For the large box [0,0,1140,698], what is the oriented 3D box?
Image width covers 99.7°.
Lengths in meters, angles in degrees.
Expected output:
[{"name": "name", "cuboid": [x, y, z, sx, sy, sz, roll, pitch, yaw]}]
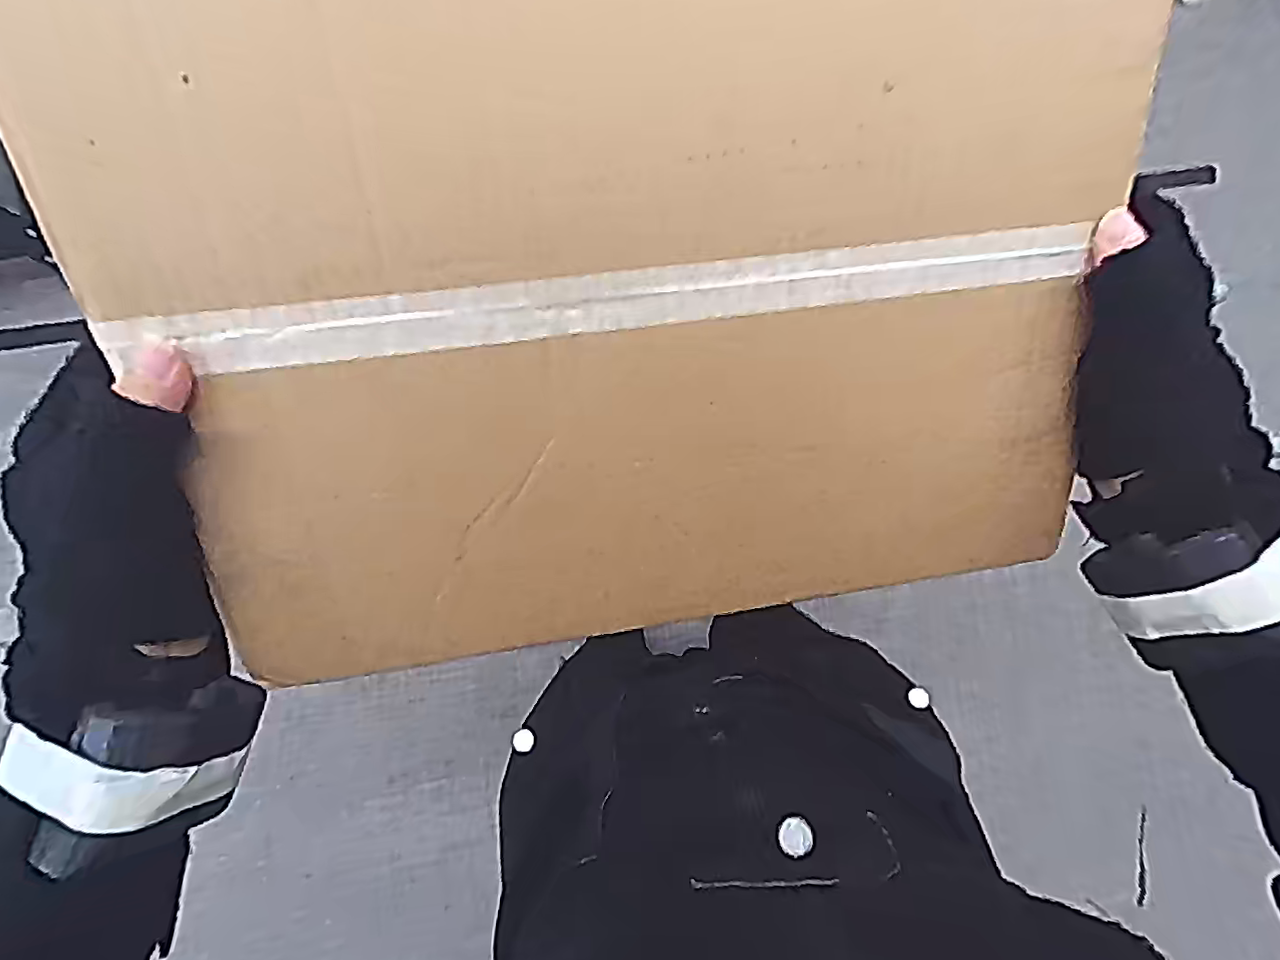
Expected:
[{"name": "large box", "cuboid": [-0.015, -0.117, 0.364, 0.408, 0.320, 0.320, -8, 111, -6]}]
